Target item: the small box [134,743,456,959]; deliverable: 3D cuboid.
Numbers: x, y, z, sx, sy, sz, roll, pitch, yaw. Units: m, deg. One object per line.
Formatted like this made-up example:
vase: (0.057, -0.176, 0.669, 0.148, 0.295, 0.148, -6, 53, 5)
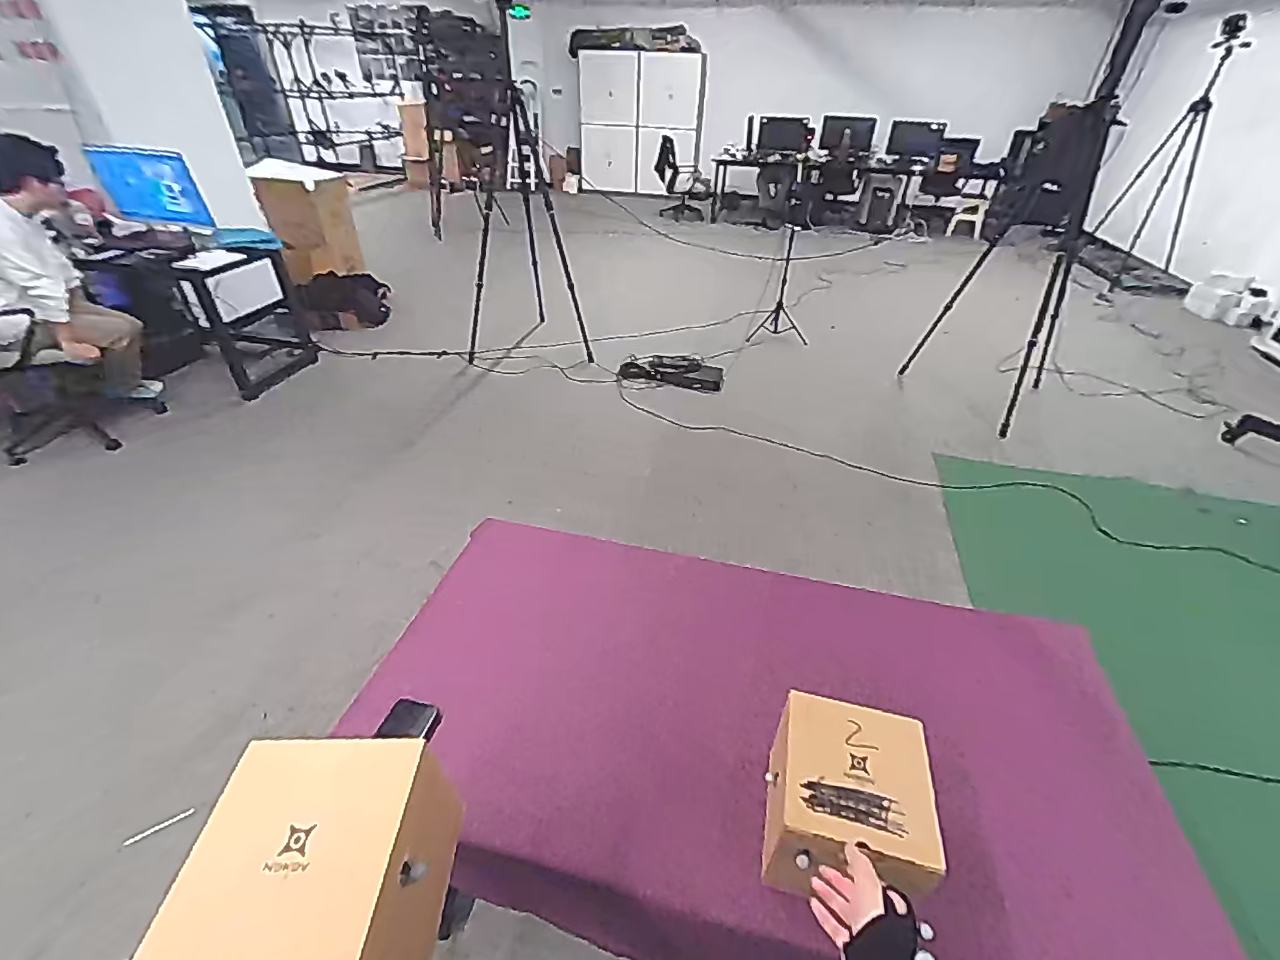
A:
small box: (-0.278, 0.361, 0.486, 0.168, 0.176, 0.179, 0, 40, 0)
